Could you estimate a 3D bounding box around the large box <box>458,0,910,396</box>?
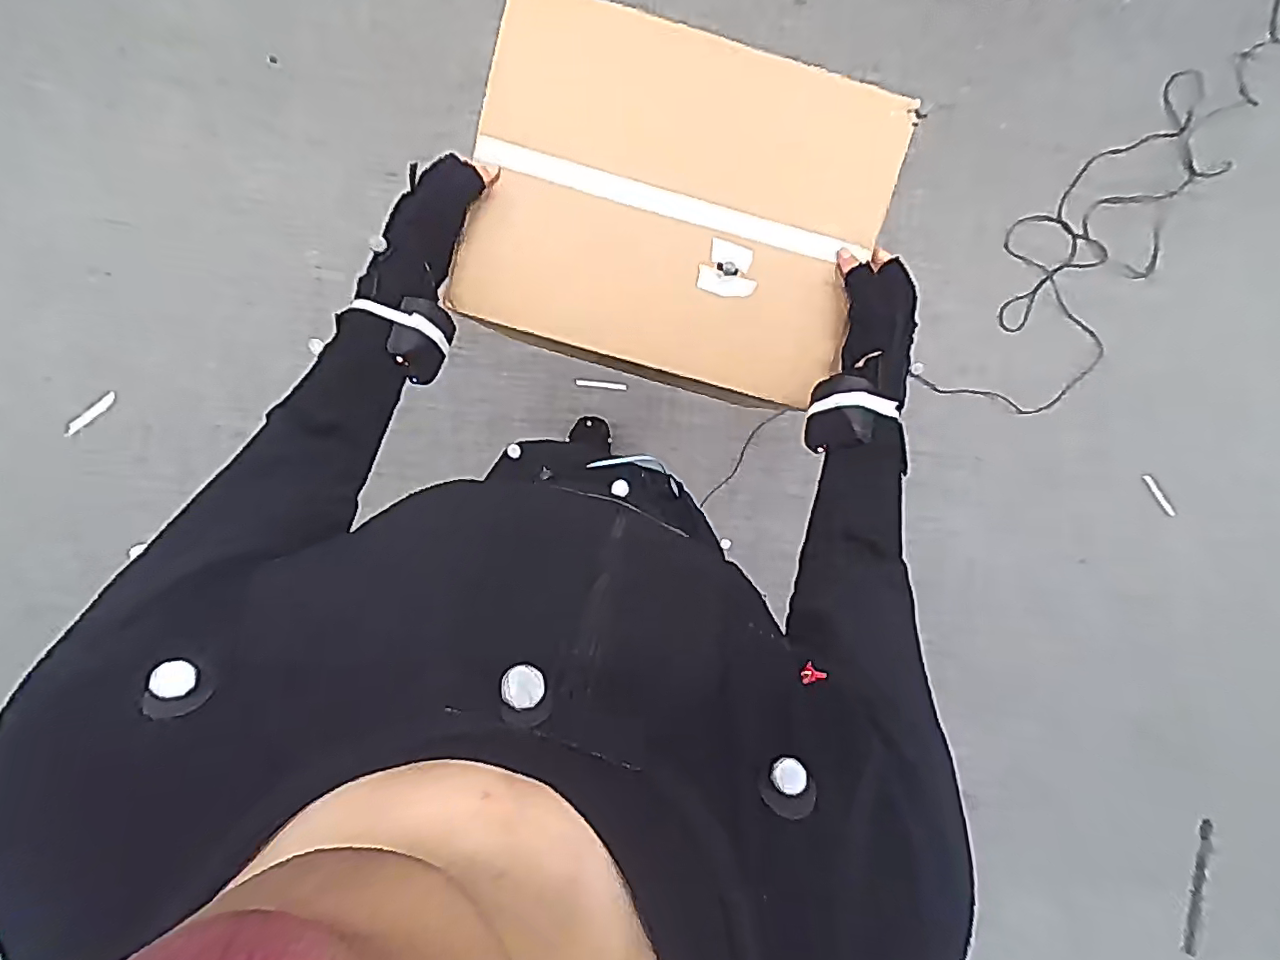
[{"bbox_3d":[0.033,-0.304,0.688,0.408,0.320,0.320,14,100,-4],"label":"large box"}]
